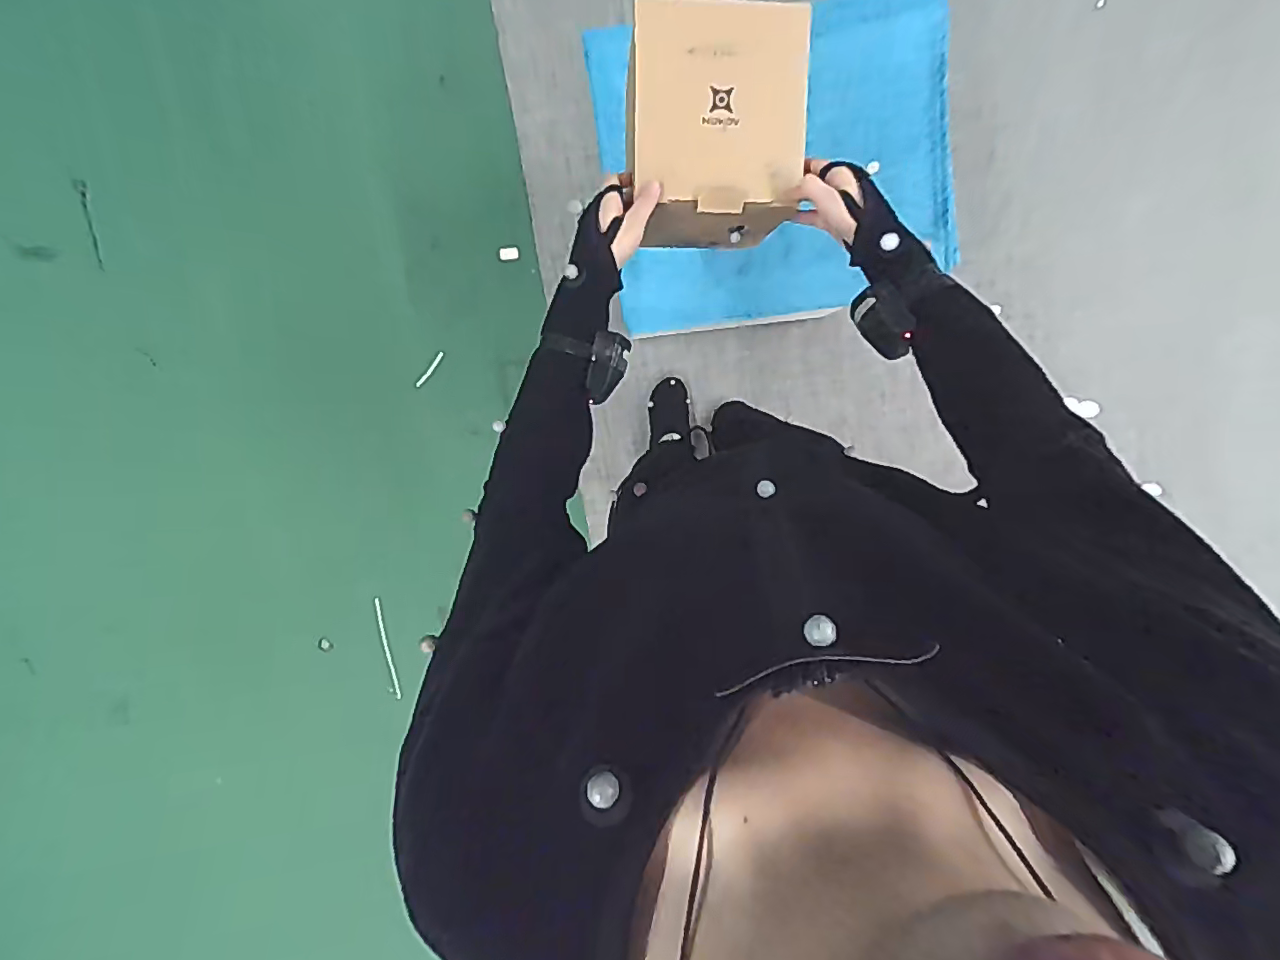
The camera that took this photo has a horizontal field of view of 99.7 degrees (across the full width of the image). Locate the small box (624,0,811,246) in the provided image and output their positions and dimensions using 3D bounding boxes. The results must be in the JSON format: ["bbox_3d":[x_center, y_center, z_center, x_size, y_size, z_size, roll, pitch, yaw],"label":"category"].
[{"bbox_3d":[0.070,-0.363,0.582,0.168,0.176,0.179,0,98,-4],"label":"small box"}]
